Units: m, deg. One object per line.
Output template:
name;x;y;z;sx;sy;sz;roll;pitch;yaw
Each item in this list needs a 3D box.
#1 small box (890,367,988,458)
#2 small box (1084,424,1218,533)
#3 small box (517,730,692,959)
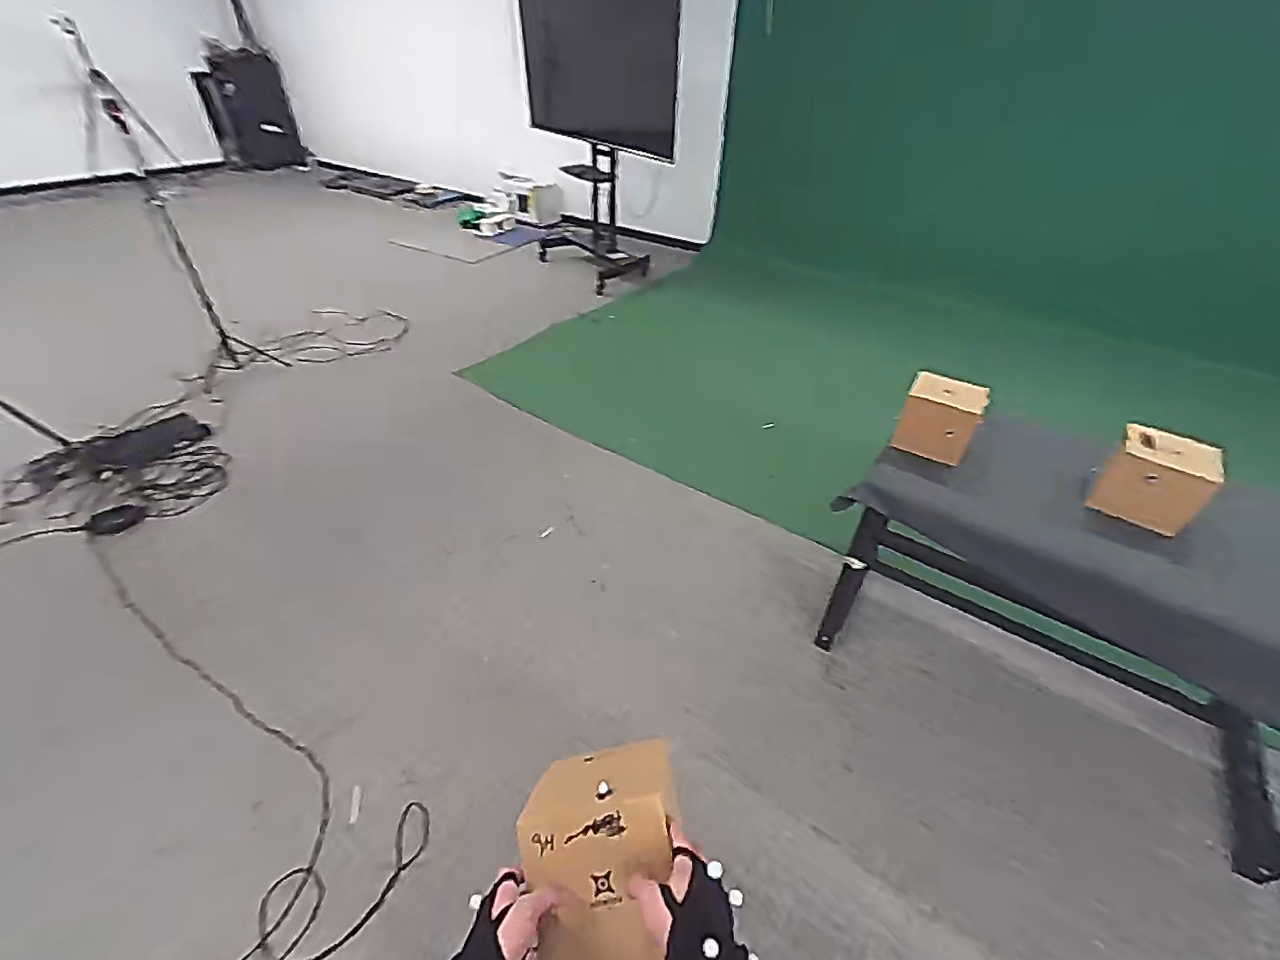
small box;0.810;-0.182;1.472;0.179;0.176;0.168;22;43;23
small box;1.215;-0.003;1.295;0.179;0.176;0.168;31;49;30
small box;-0.033;0.446;0.678;0.168;0.176;0.179;-16;82;3
